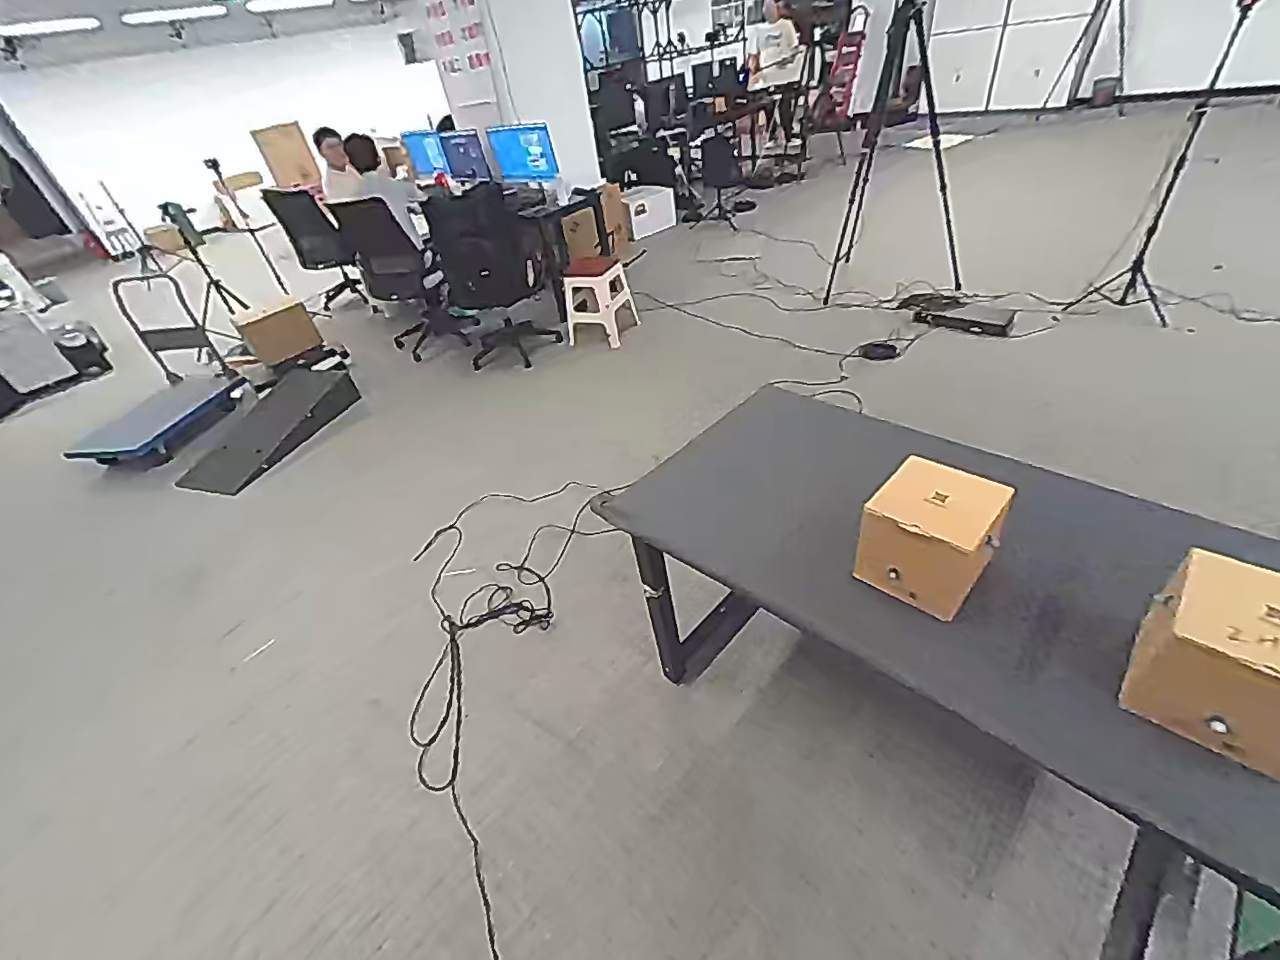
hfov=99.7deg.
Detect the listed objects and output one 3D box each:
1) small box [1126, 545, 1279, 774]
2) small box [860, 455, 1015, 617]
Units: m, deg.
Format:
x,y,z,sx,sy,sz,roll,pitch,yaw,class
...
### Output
x,y,z,sx,sy,sz,roll,pitch,yaw,class
0.759,0.221,0.682,0.168,0.176,0.179,24,50,38,small box
0.492,0.092,0.915,0.168,0.176,0.179,27,52,38,small box
